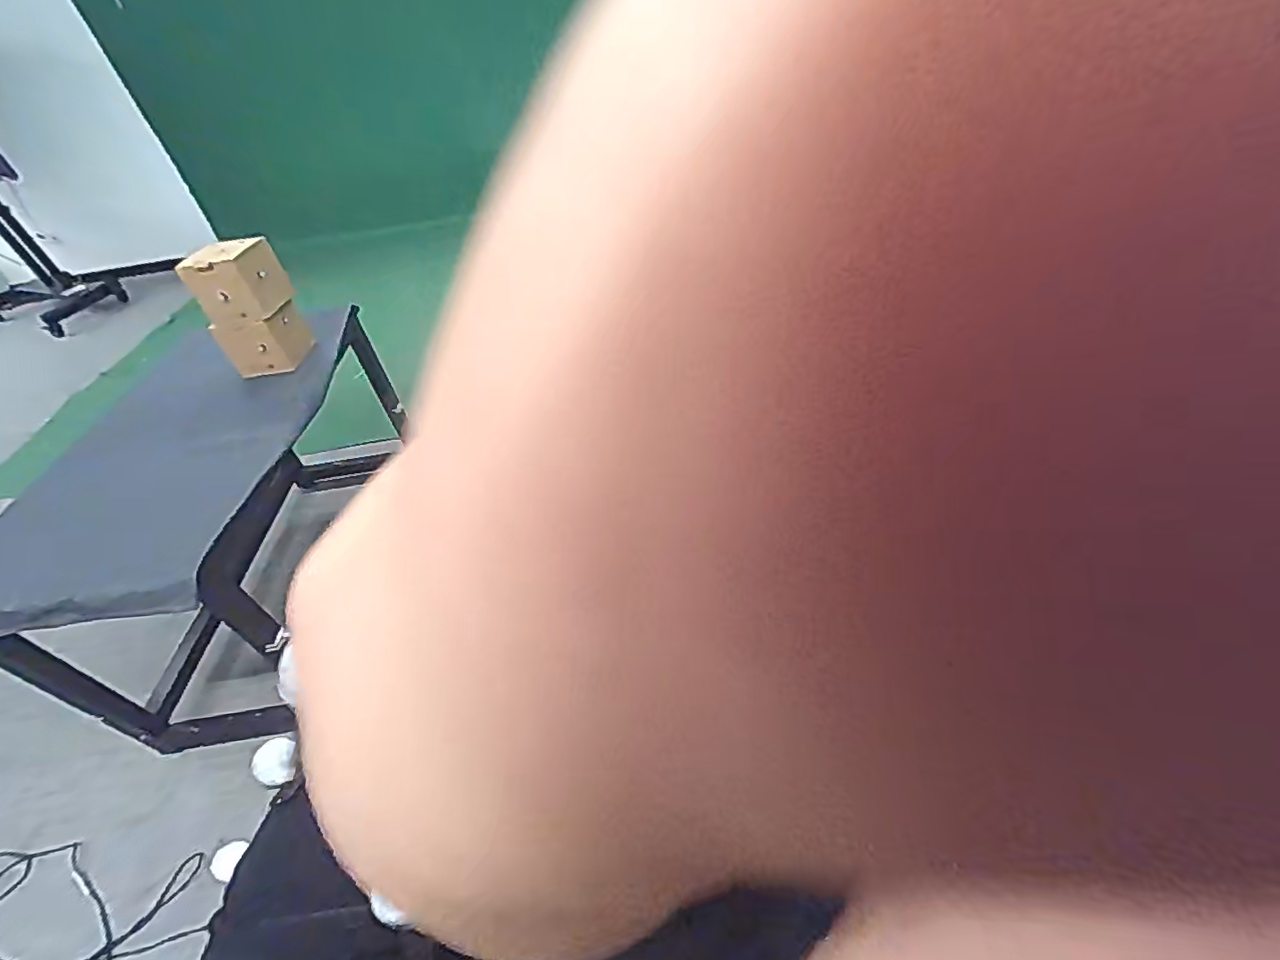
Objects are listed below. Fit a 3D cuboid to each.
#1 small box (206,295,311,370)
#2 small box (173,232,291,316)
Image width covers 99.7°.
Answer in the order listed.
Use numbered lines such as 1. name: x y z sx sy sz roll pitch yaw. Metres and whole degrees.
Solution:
1. small box: -1.129 -0.443 1.621 0.168 0.176 0.179 -6 42 1
2. small box: -1.130 -0.571 1.518 0.168 0.176 0.179 -4 44 4
